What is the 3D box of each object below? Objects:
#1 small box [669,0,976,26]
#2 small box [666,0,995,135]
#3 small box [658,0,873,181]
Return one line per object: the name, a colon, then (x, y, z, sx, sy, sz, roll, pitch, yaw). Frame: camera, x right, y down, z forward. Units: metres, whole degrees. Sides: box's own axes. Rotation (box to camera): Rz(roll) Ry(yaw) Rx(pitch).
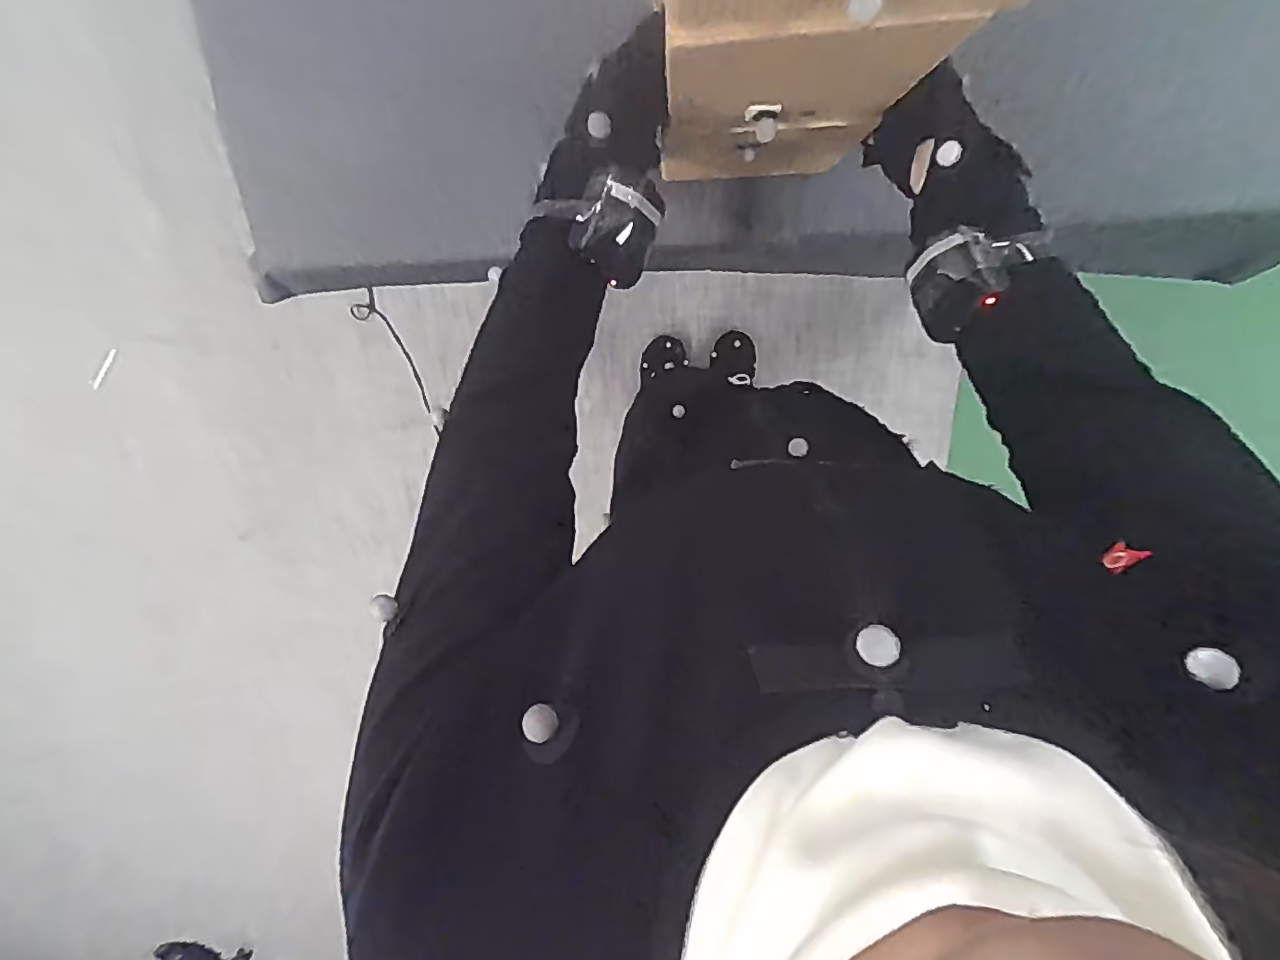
small box: (0.094, -0.286, 0.174, 0.179, 0.176, 0.168, -1, 107, 4)
small box: (0.097, -0.339, 0.329, 0.168, 0.176, 0.179, -2, 109, 6)
small box: (0.106, -0.387, 0.500, 0.179, 0.176, 0.168, -1, 109, 3)
